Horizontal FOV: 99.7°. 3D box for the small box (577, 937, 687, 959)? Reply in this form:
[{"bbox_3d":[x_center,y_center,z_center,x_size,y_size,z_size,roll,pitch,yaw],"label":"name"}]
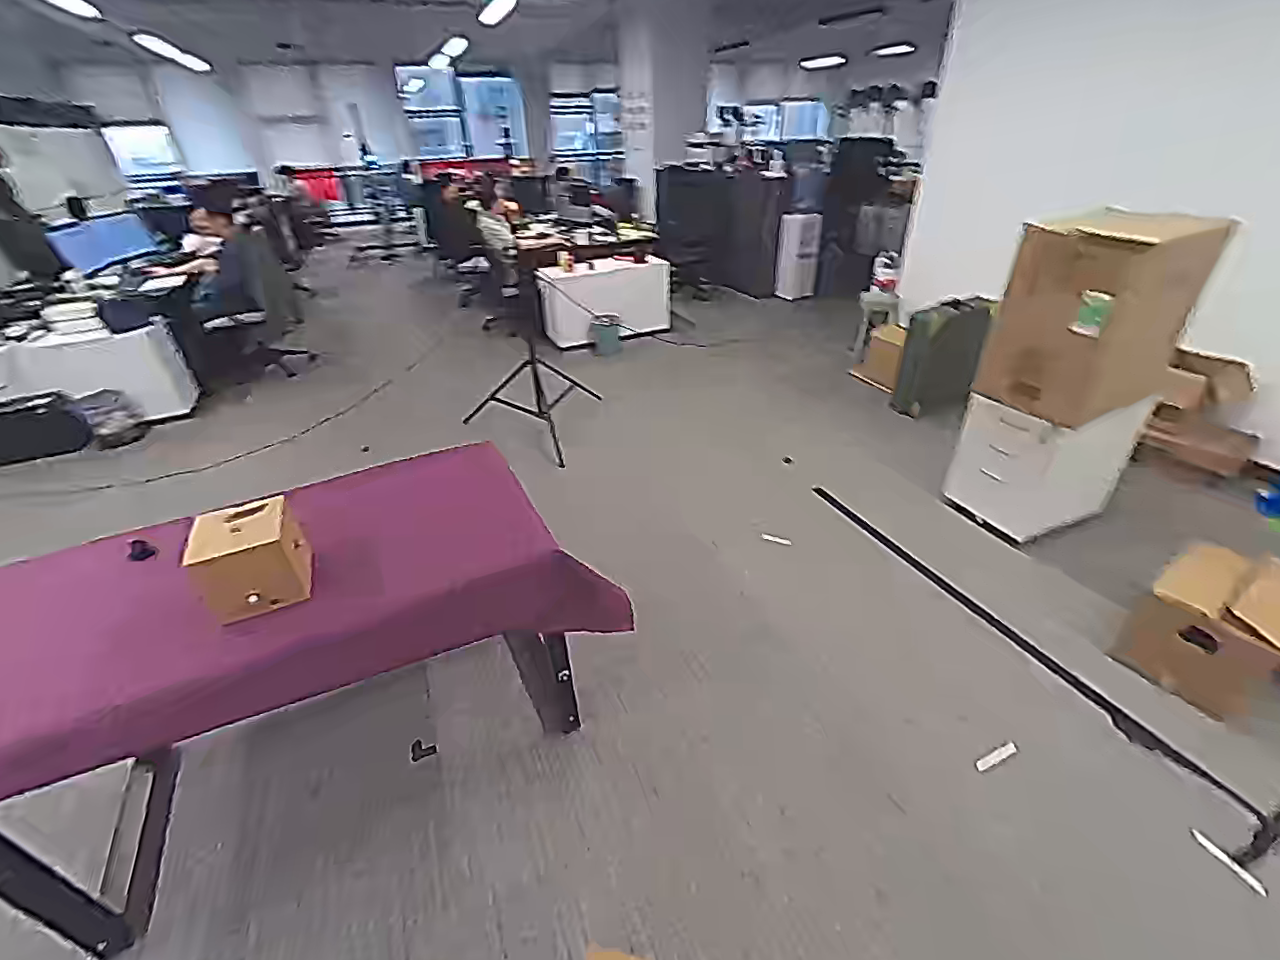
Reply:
[{"bbox_3d":[0.004,0.562,0.473,0.179,0.168,0.176,7,77,7],"label":"small box"}]

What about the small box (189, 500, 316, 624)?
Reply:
[{"bbox_3d":[-0.814,0.173,1.157,0.168,0.176,0.179,-17,36,-21],"label":"small box"}]
